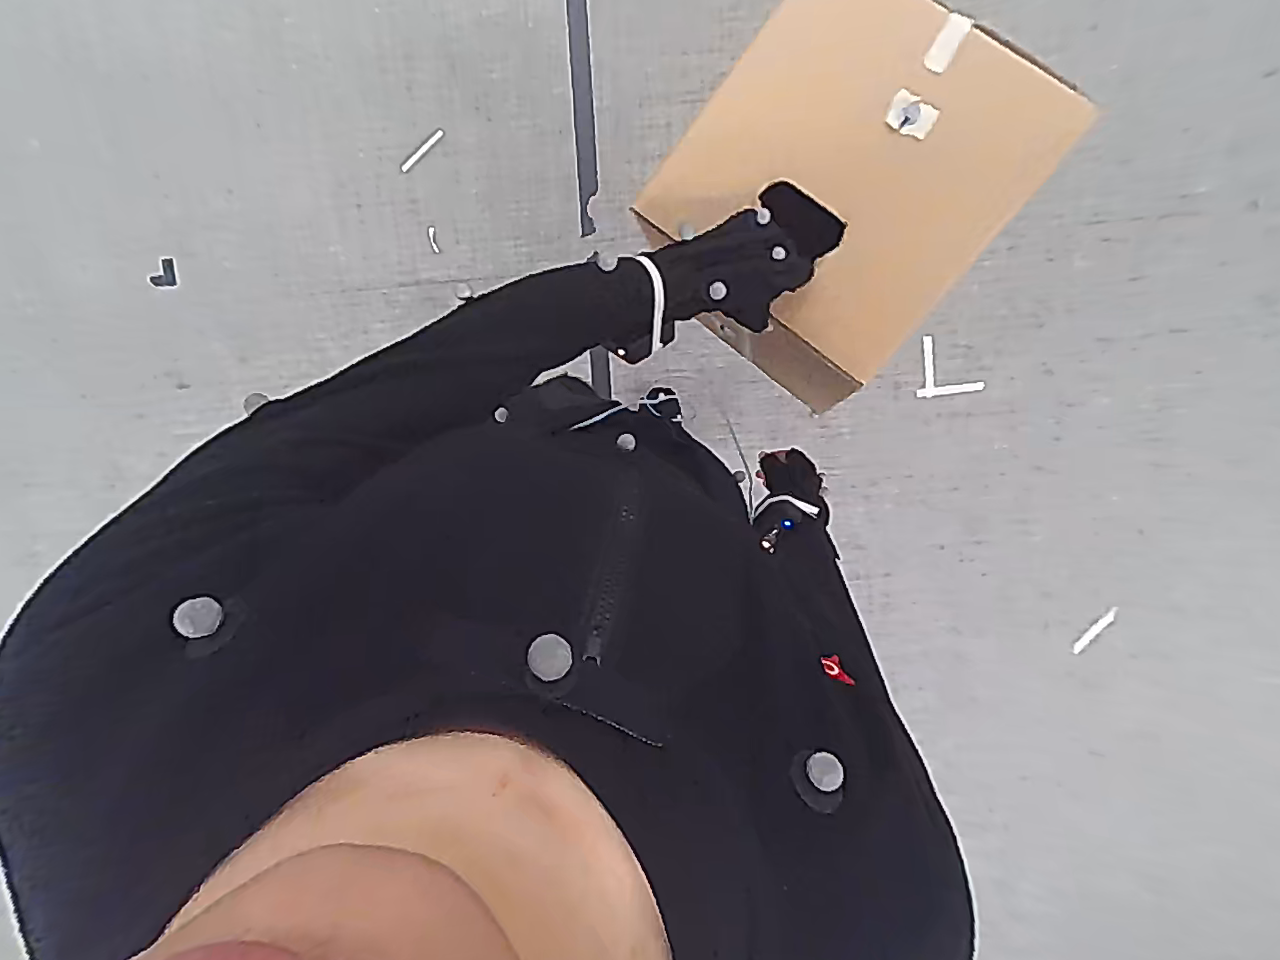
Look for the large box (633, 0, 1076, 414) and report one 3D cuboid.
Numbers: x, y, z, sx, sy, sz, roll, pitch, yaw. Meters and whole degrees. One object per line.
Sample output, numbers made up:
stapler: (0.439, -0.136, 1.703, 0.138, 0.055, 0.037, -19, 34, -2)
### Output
large box: (0.247, -0.316, 0.726, 0.320, 0.408, 0.320, 44, 102, 9)
